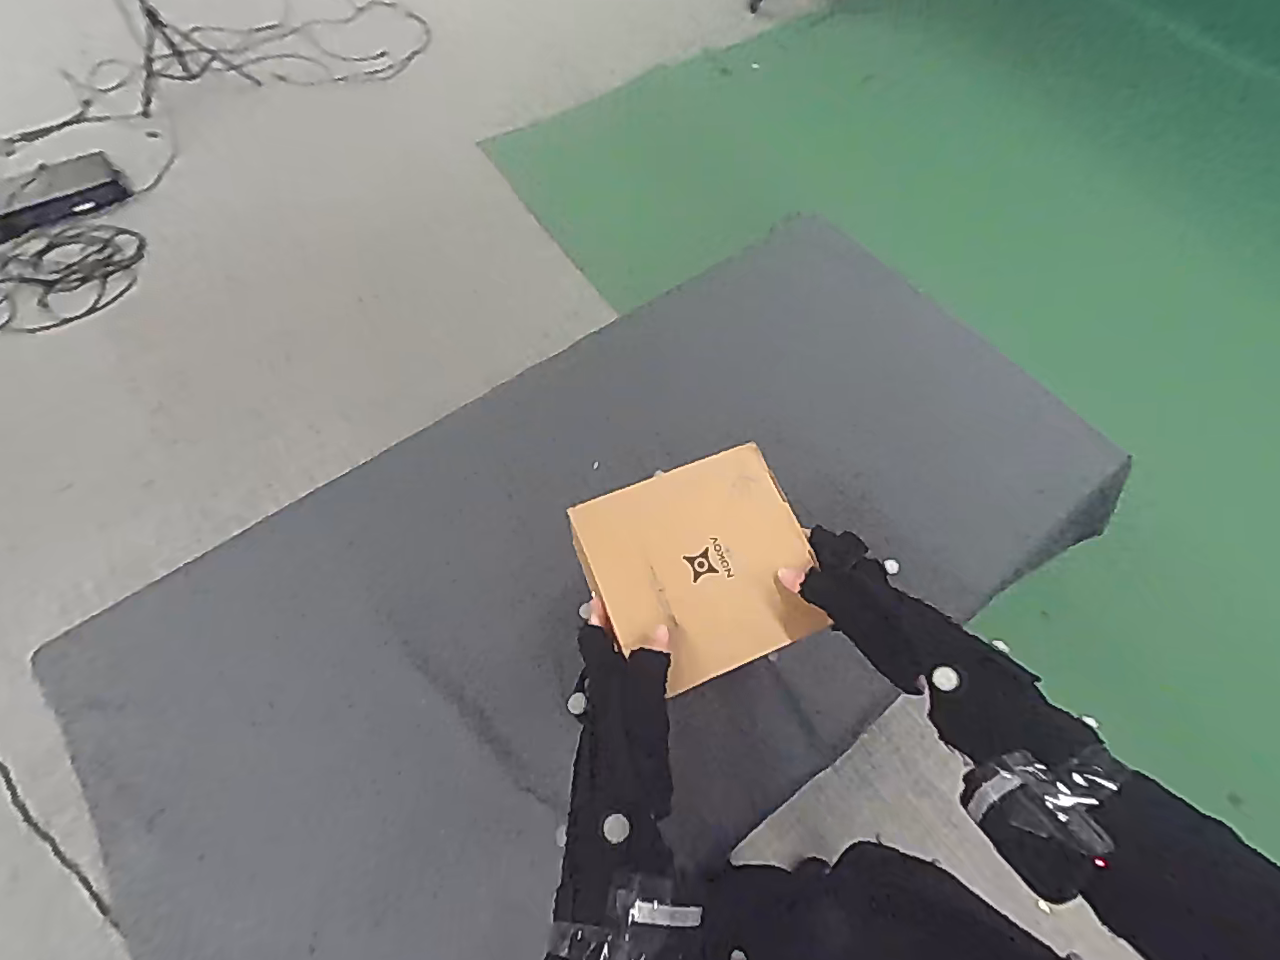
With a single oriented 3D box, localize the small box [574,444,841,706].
[{"bbox_3d":[0.047,0.091,0.511,0.179,0.176,0.168,-20,74,-10],"label":"small box"}]
